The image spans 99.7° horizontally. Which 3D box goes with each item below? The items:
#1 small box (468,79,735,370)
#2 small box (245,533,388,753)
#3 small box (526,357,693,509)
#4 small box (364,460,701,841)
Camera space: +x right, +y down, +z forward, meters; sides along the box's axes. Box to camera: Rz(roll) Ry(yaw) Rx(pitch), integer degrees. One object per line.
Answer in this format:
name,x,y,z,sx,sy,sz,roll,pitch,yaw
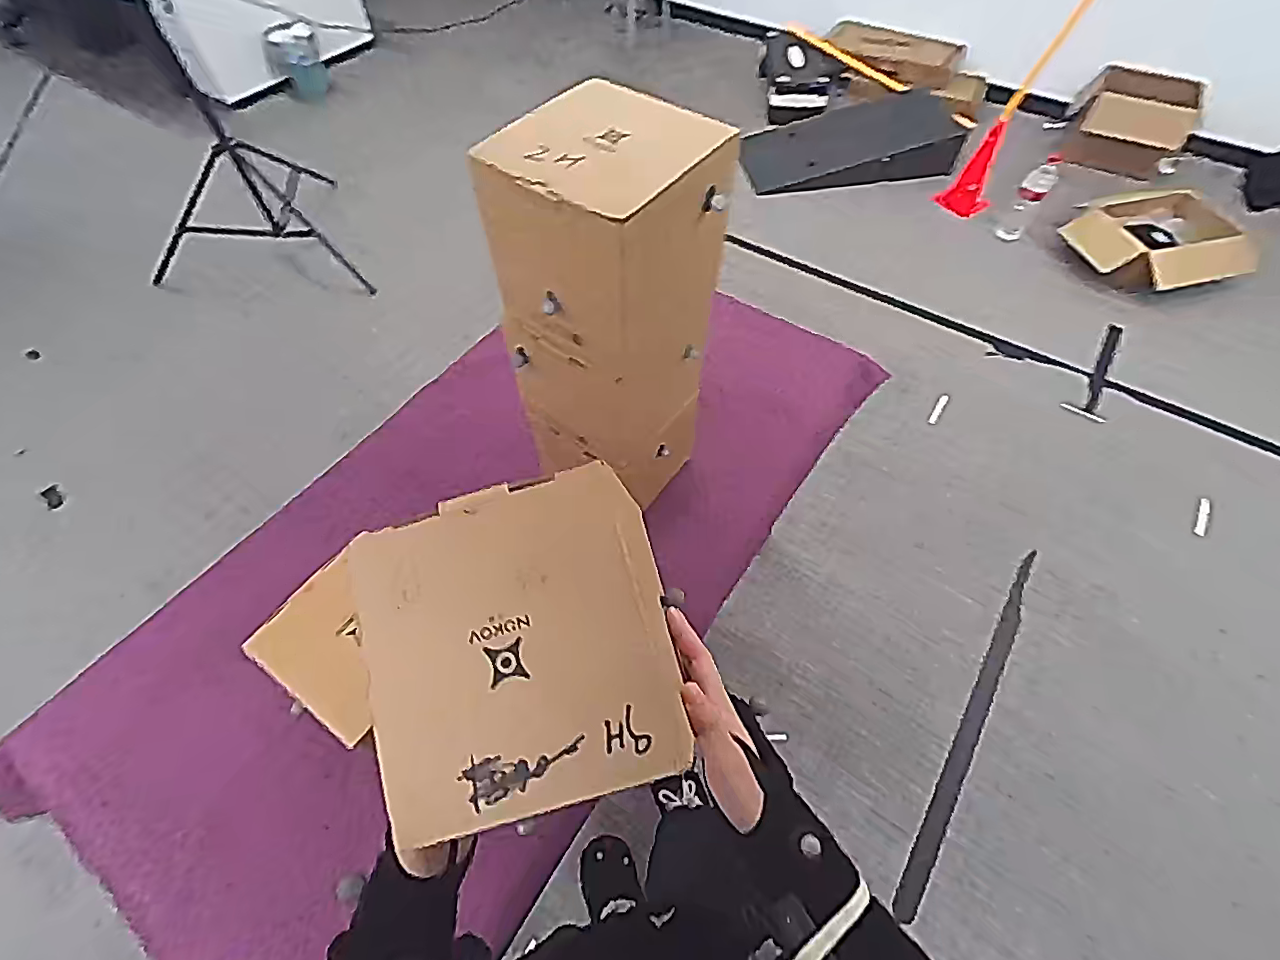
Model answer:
small box,-0.032,-0.245,0.529,0.168,0.176,0.179,32,64,19
small box,-0.297,0.199,0.640,0.179,0.176,0.168,29,63,18
small box,-0.039,-0.064,0.805,0.168,0.176,0.179,32,63,18
small box,-0.060,0.109,0.381,0.168,0.176,0.179,-18,74,3
